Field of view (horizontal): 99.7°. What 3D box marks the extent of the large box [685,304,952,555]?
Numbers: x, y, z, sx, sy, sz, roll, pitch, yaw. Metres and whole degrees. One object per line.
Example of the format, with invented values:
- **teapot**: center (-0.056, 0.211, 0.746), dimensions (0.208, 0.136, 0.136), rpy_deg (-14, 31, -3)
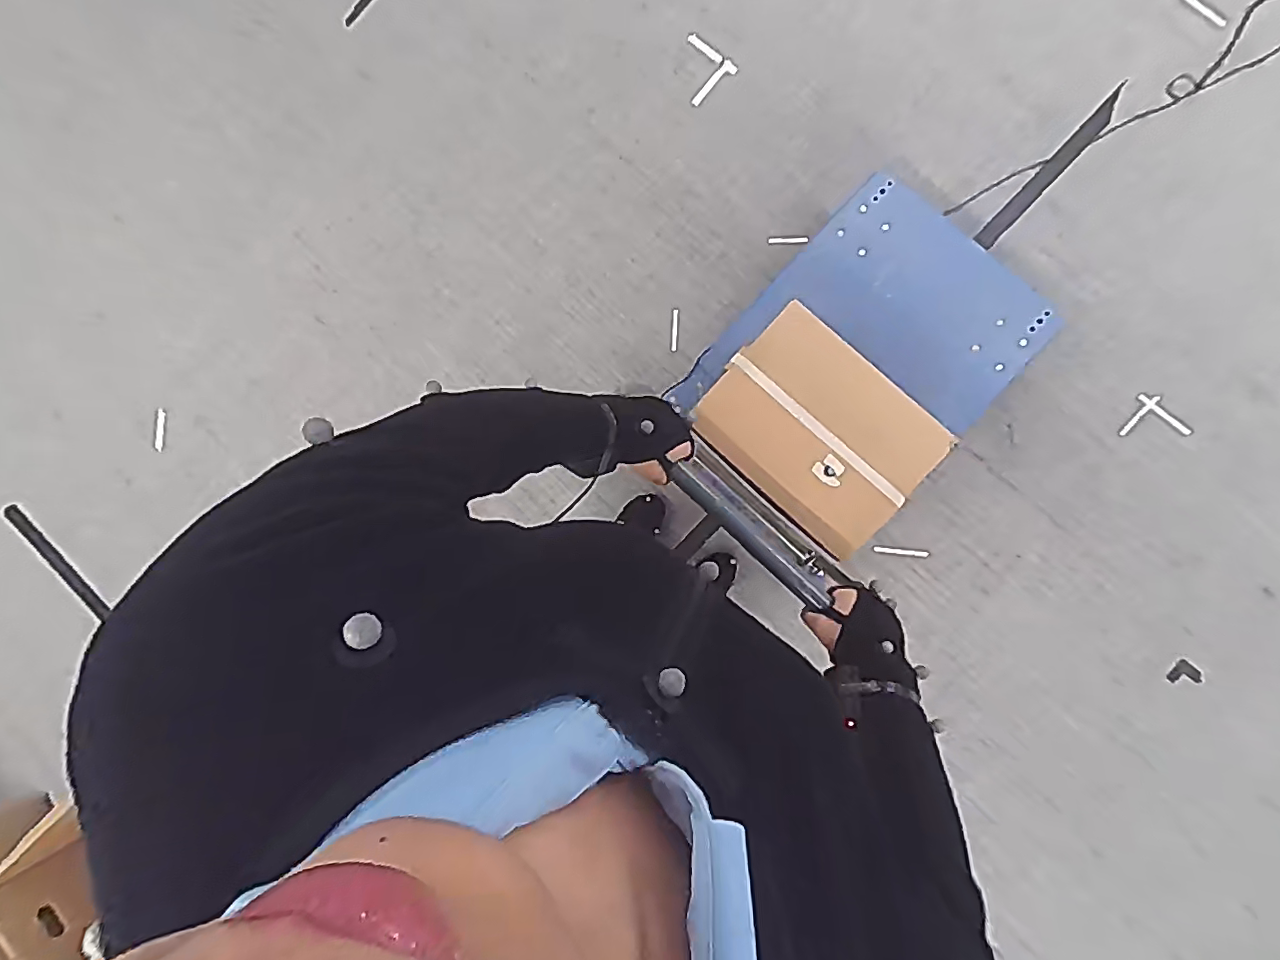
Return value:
- **large box**: center (0.346, -0.095, 1.173), dimensions (0.408, 0.320, 0.320), rpy_deg (42, 93, 4)
